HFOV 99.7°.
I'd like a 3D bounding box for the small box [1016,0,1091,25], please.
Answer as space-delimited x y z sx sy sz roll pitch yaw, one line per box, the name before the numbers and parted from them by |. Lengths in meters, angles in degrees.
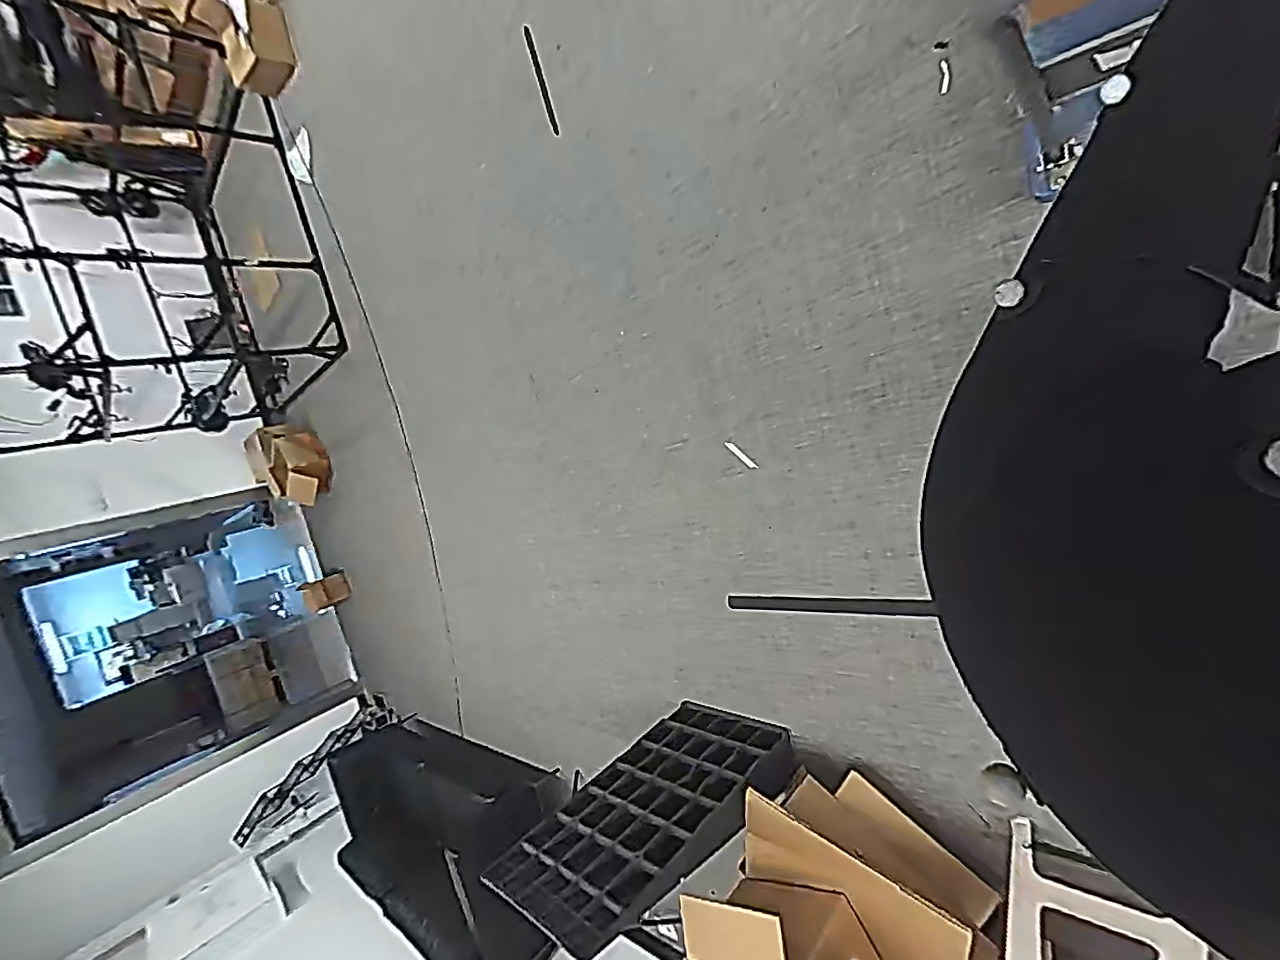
small box | 0.670 -0.841 0.812 0.179 0.176 0.168 1 104 42
